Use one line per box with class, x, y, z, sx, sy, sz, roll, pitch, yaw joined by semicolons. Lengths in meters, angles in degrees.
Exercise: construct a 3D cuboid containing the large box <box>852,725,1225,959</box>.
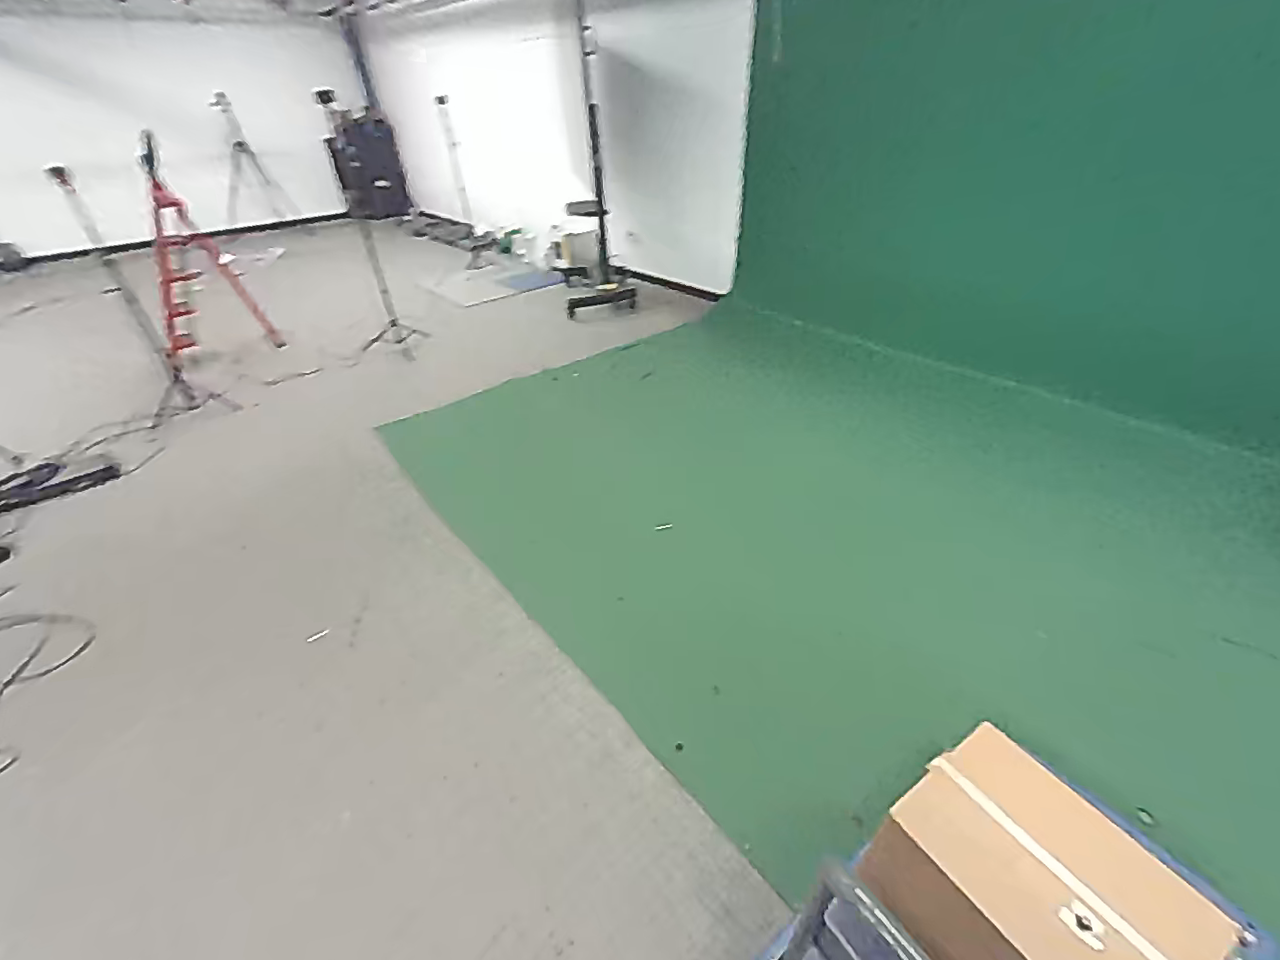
large box;0.679;0.764;0.997;0.320;0.320;0.408;-22;41;-25
